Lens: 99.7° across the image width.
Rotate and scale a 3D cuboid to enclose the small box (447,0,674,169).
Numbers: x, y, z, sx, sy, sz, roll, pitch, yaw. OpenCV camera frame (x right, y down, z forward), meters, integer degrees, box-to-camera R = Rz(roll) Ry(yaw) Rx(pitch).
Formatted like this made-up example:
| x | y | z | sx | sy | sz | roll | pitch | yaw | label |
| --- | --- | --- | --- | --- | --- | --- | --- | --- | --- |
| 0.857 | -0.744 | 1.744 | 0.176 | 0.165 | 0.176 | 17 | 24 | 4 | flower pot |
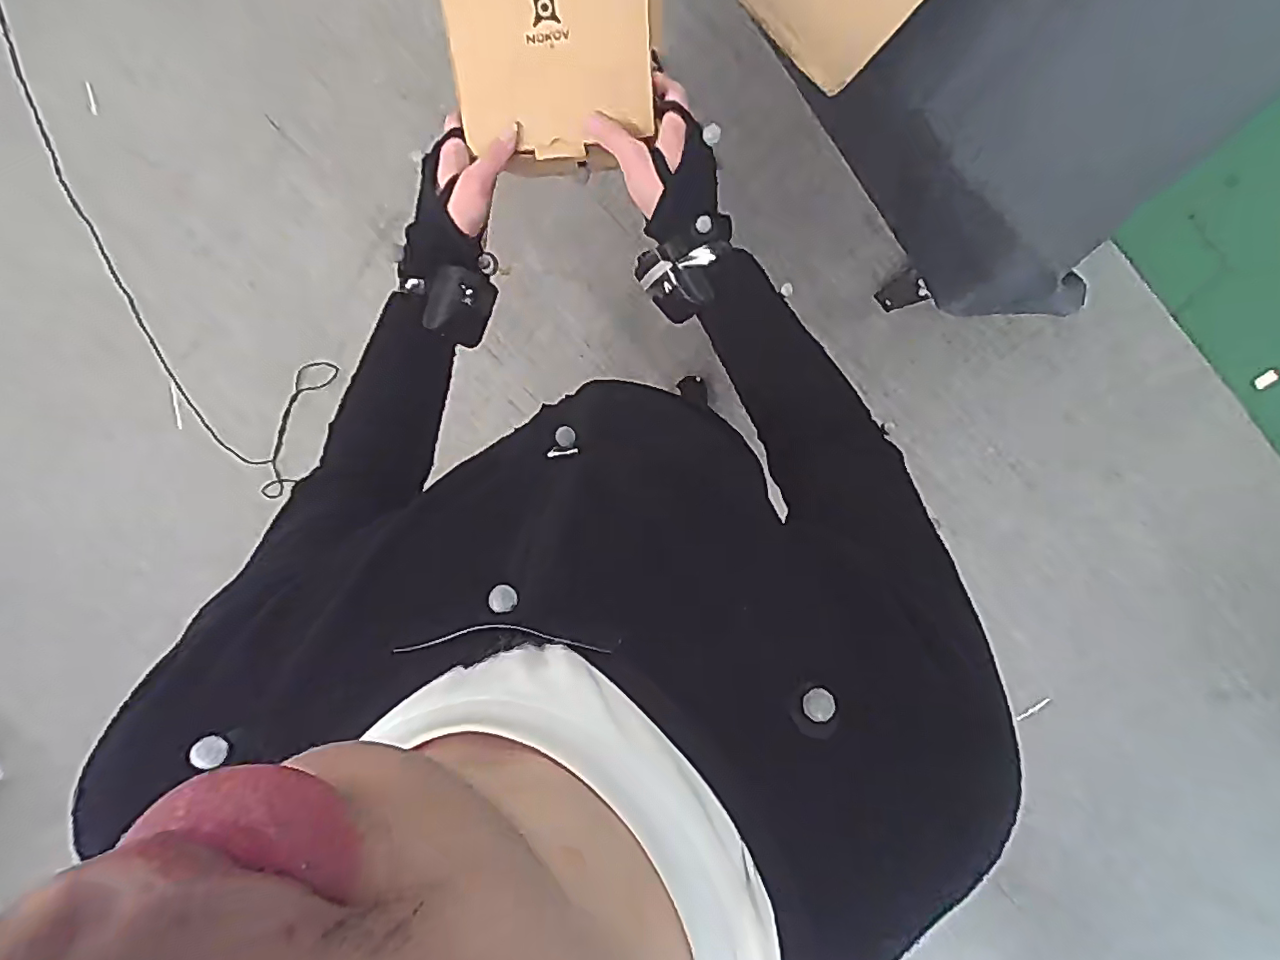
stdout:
| x | y | z | sx | sy | sz | roll | pitch | yaw | label |
| --- | --- | --- | --- | --- | --- | --- | --- | --- | --- |
| -0.060 | -0.399 | 0.501 | 0.168 | 0.176 | 0.179 | -3 | 113 | 9 | small box |
